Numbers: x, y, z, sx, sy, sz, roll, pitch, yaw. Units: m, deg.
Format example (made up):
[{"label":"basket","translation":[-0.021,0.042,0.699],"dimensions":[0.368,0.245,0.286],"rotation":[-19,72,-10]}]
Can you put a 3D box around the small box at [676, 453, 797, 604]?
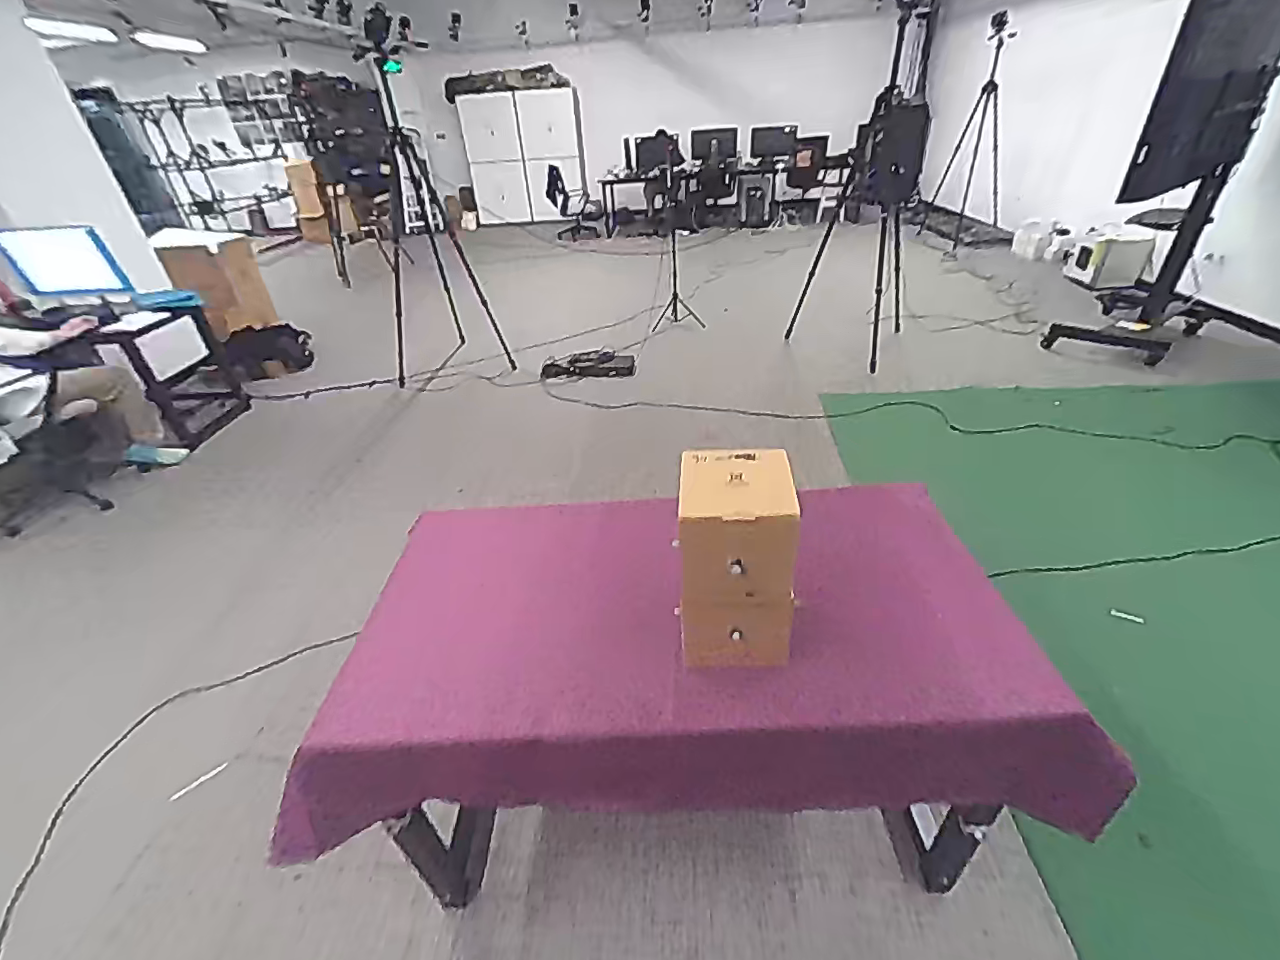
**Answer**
[{"label":"small box","translation":[0.146,0.074,0.841],"dimensions":[0.168,0.176,0.179],"rotation":[0,35,7]}]
